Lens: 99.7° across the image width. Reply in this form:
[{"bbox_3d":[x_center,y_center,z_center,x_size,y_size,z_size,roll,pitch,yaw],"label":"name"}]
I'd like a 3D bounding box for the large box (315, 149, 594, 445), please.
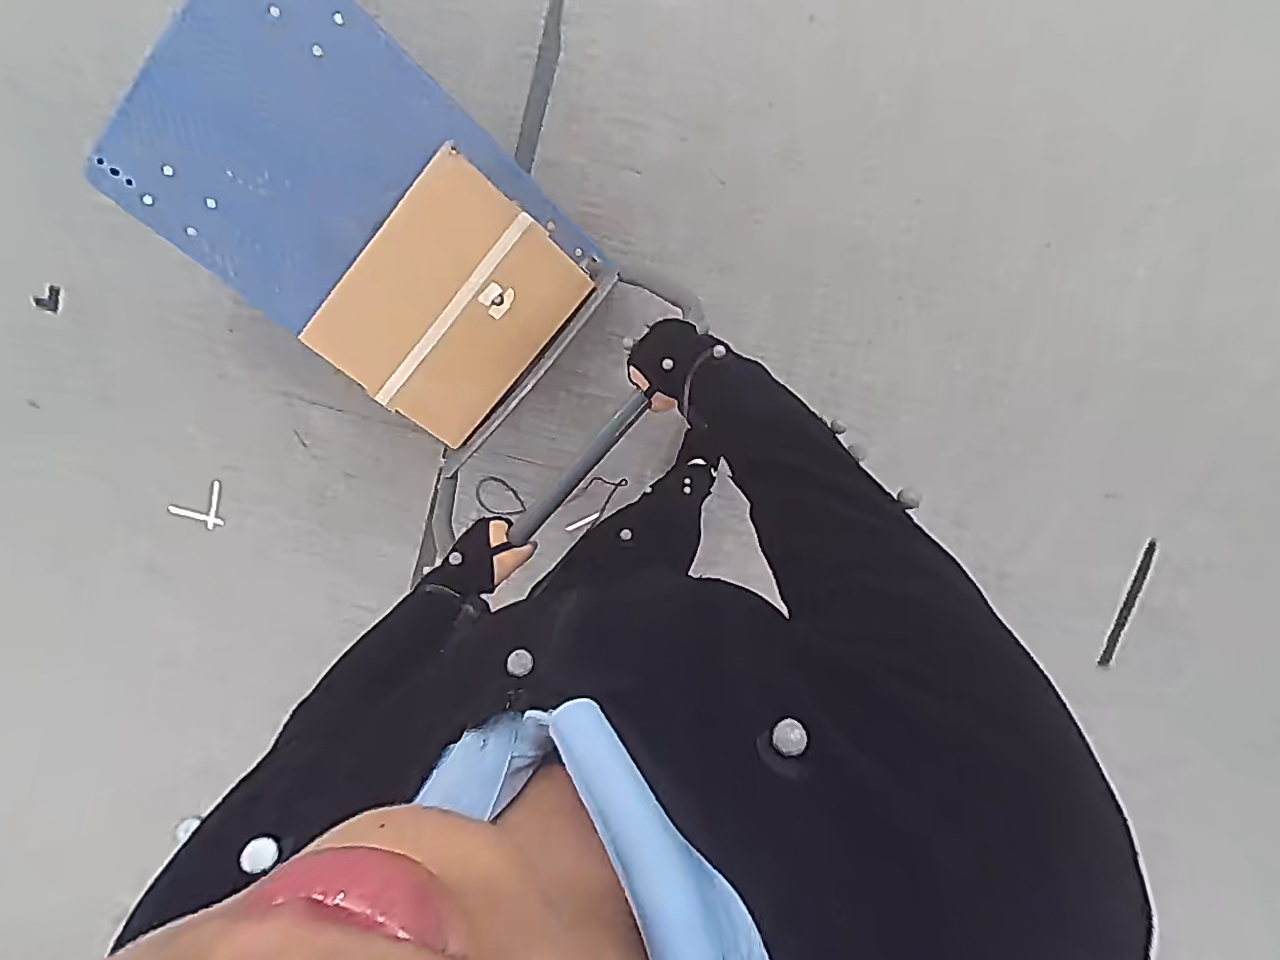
[{"bbox_3d":[-0.349,-0.345,1.081,0.320,0.320,0.408,38,98,-23],"label":"large box"}]
